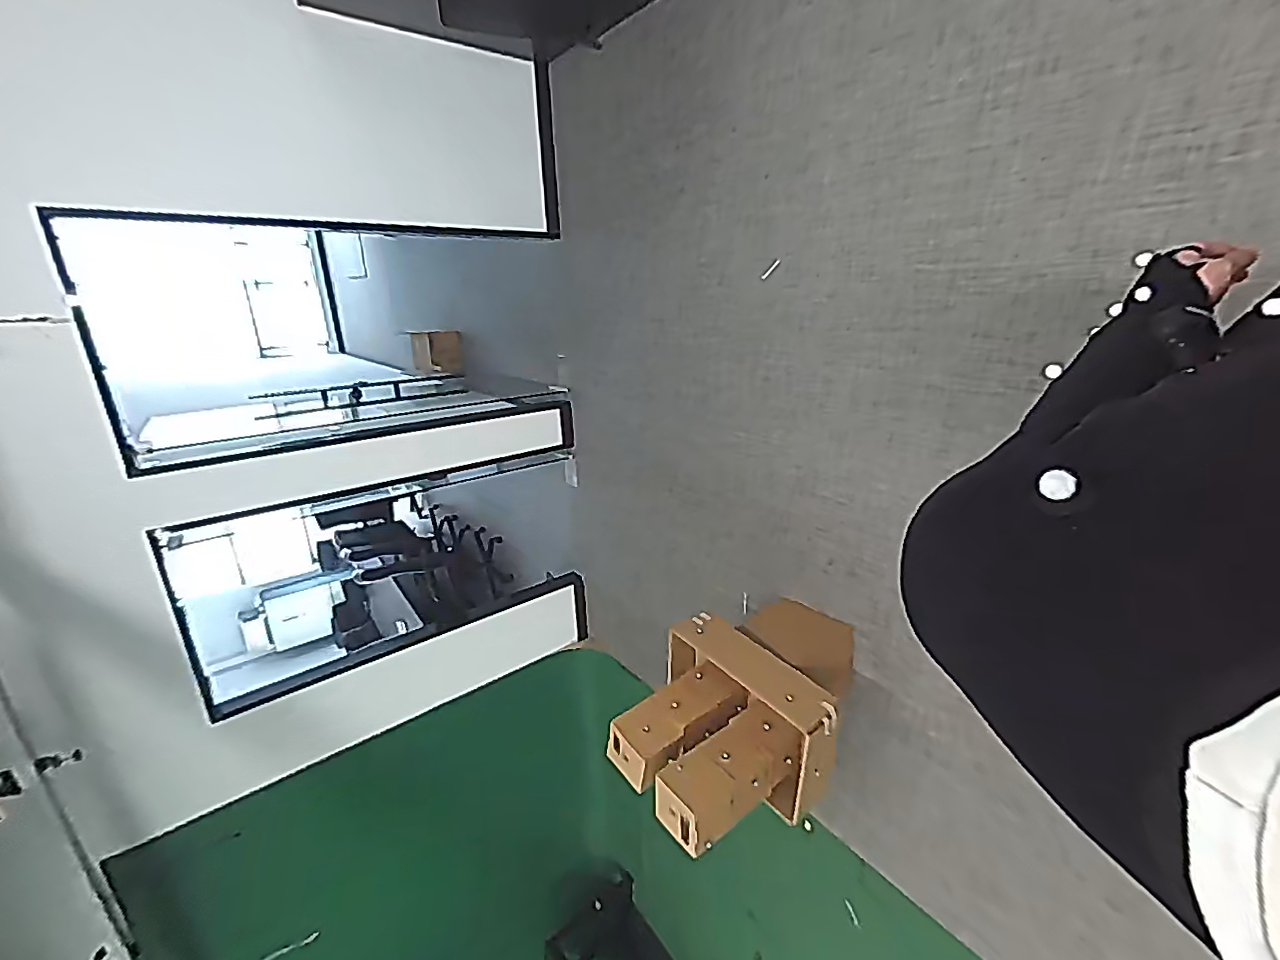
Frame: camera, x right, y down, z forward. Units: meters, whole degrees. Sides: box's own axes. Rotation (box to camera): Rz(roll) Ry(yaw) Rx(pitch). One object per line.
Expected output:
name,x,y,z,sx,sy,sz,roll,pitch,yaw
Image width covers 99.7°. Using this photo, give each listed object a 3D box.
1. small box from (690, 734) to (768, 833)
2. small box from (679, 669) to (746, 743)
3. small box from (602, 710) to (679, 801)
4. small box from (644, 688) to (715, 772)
small box,0.276,0.924,1.669,0.179,0.176,0.168,22,118,49
small box,0.254,0.807,1.941,0.179,0.176,0.168,23,120,47
small box,0.001,0.878,1.749,0.179,0.176,0.168,33,126,40
small box,0.130,0.841,1.843,0.179,0.176,0.168,22,118,46
